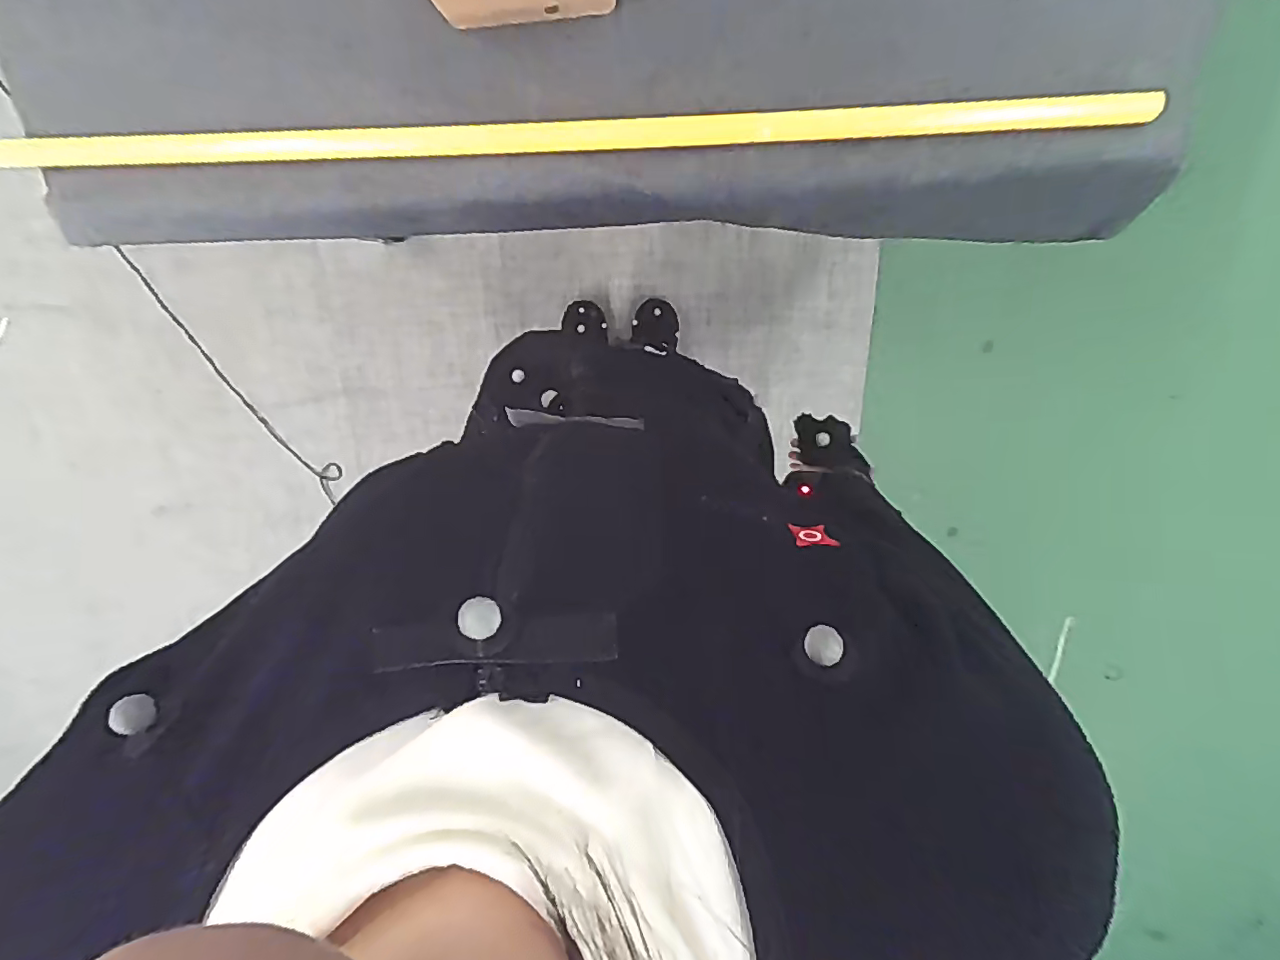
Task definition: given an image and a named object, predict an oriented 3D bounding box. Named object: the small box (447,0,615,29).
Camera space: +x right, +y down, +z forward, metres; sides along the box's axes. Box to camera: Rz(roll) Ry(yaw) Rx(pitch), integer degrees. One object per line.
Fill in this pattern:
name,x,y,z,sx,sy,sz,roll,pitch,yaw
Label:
small box,-0.112,-0.511,0.434,0.168,0.176,0.179,-3,109,4
